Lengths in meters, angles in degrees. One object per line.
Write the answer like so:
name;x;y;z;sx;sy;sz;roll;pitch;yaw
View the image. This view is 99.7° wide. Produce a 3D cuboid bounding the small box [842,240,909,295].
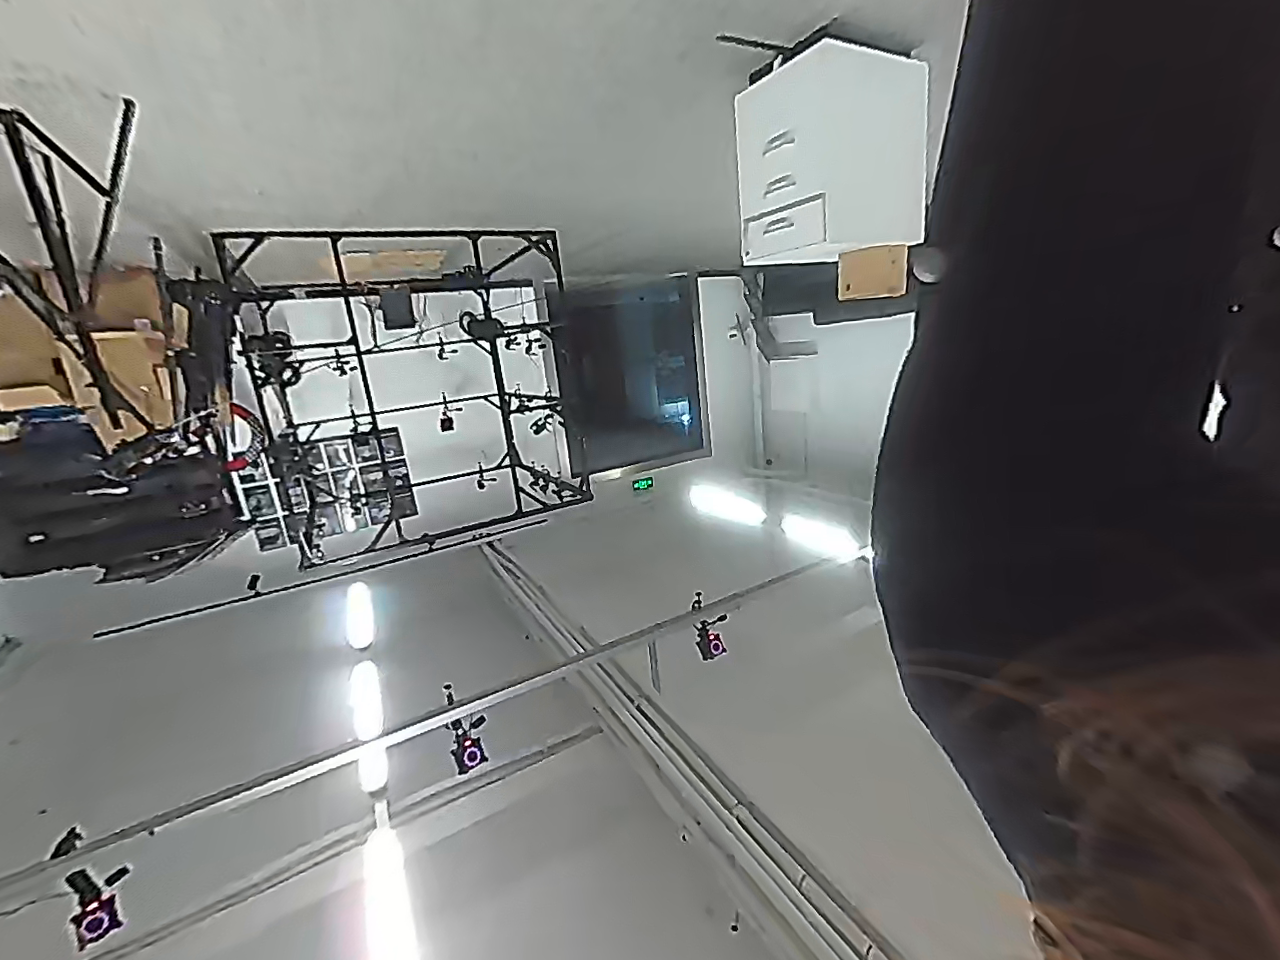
small box;0.874;-0.786;2.003;0.168;0.176;0.179;-15;-162;-27
